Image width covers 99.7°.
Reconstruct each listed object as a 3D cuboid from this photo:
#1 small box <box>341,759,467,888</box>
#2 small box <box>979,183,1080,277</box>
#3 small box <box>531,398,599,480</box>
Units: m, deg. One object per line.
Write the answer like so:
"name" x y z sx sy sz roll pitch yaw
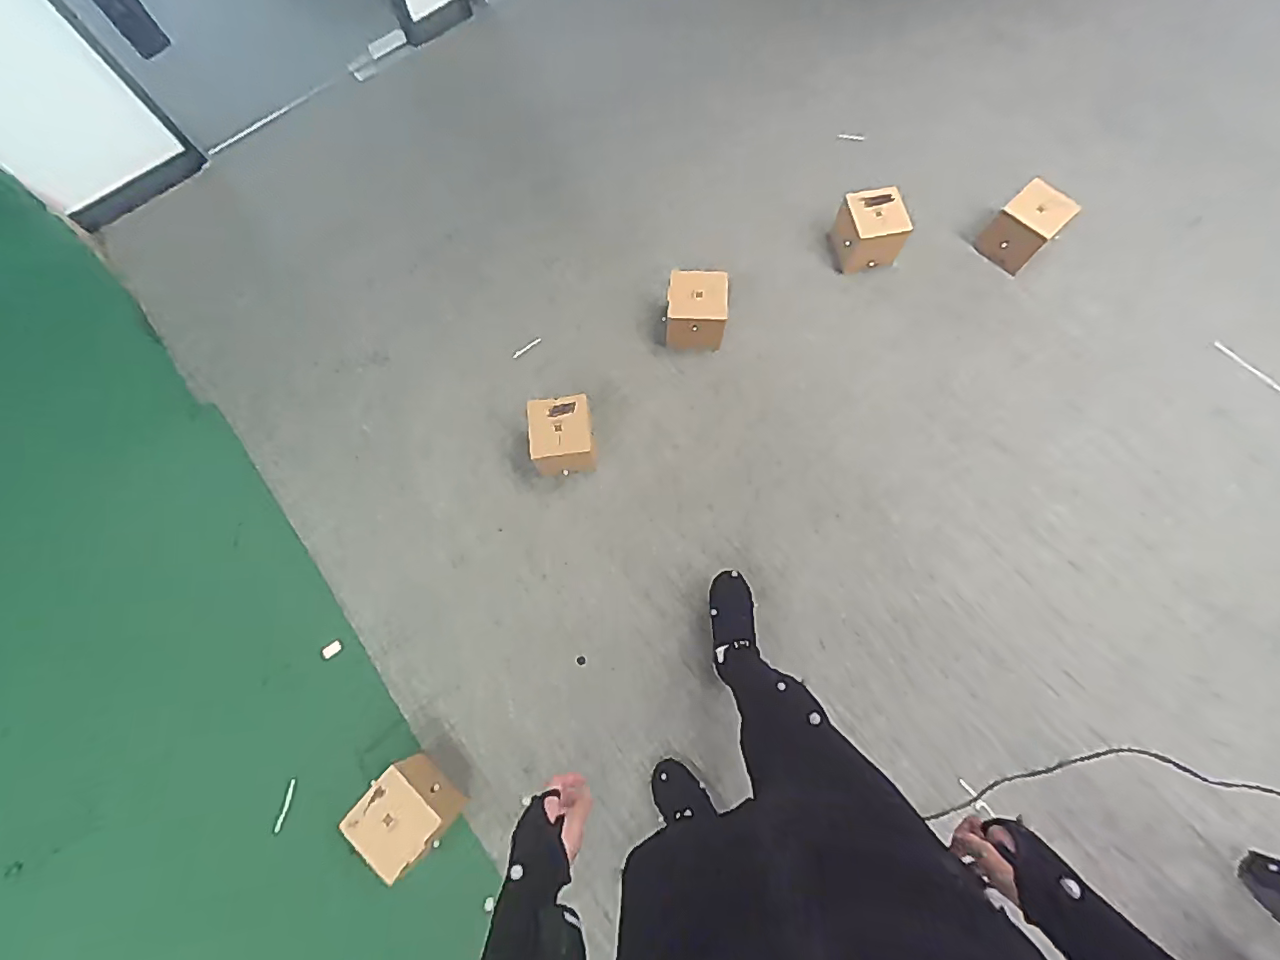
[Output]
"small box" -0.539 0.785 1.262 0.179 0.176 0.168 38 77 13
"small box" 1.223 -0.788 1.718 0.179 0.176 0.168 -42 75 -11
"small box" -0.214 -0.113 1.551 0.168 0.176 0.179 -7 72 0
